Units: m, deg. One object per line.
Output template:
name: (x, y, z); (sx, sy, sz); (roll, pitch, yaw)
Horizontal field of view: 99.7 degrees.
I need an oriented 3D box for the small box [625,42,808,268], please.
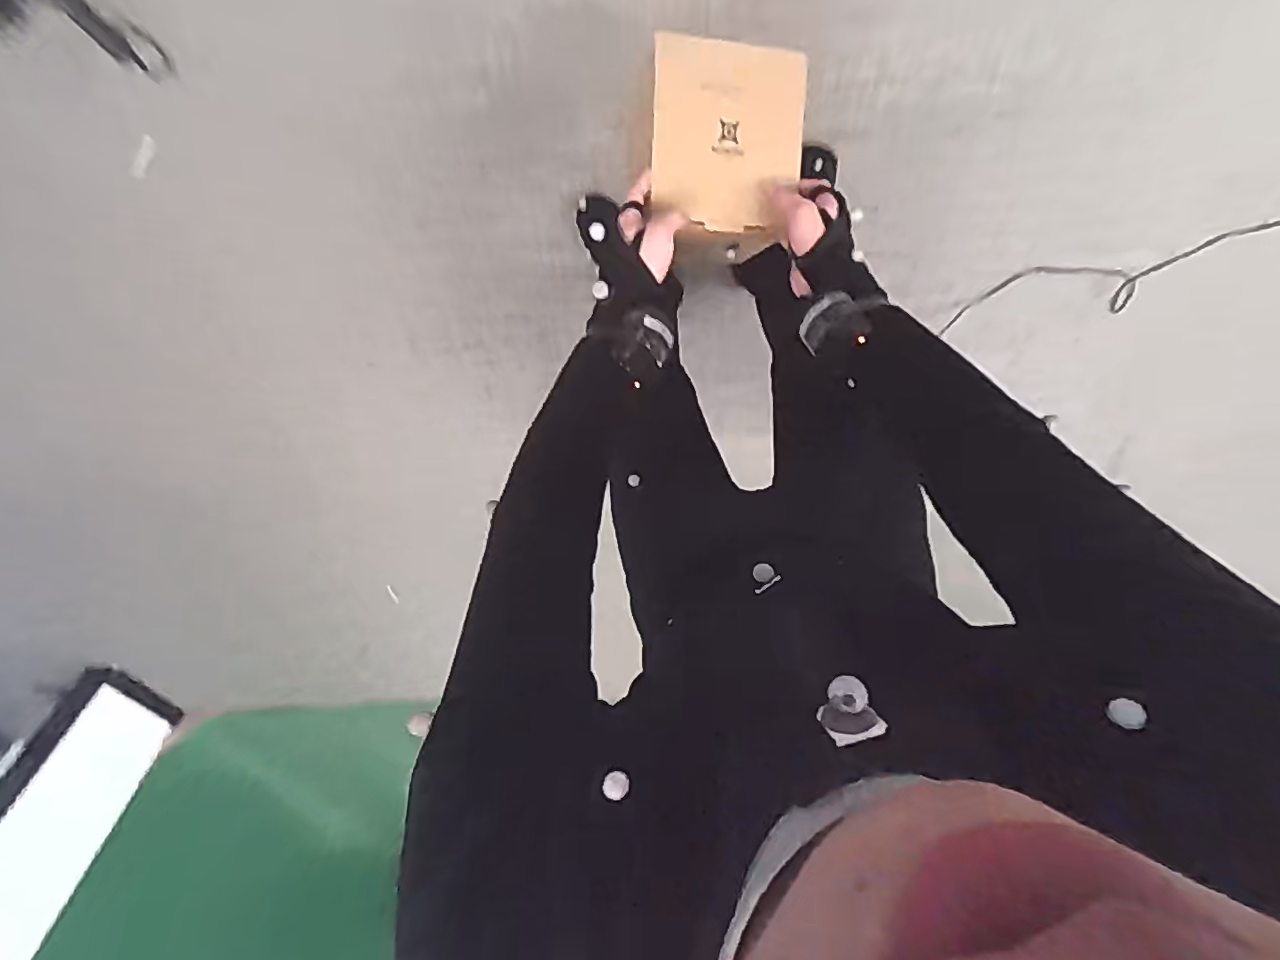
small box: (0.077, -0.358, 0.635); (0.168, 0.176, 0.179); (0, 99, -11)
